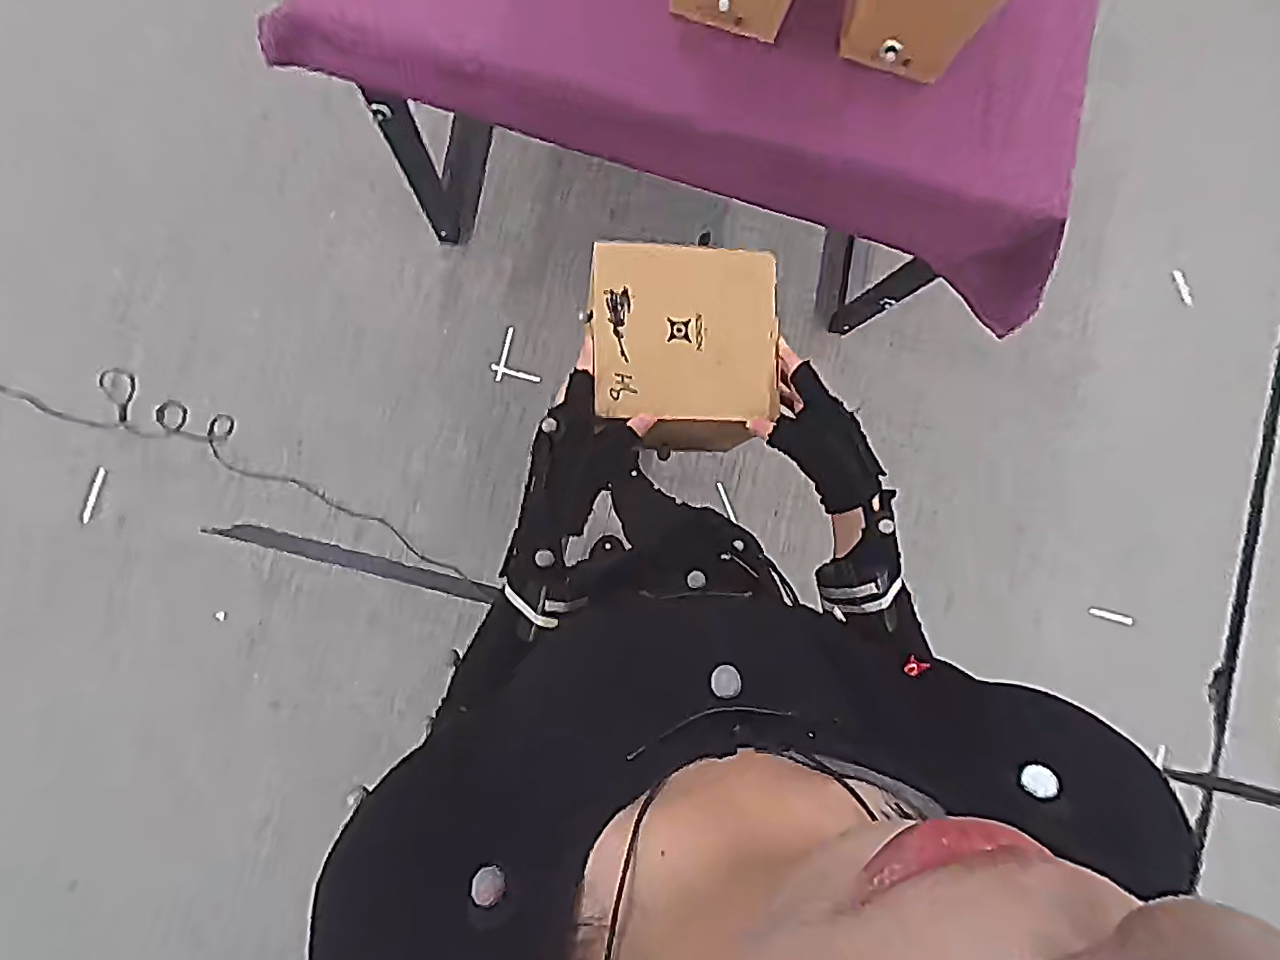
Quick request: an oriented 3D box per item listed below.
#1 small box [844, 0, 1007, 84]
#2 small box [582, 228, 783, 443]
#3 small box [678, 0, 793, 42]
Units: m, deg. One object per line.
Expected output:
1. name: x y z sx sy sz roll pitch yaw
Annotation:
1. small box: 0.417 -0.731 0.778 0.168 0.176 0.179 10 88 -5
2. small box: 0.033 -0.134 0.568 0.179 0.176 0.168 1 83 -9
3. small box: 0.156 -0.773 0.747 0.168 0.176 0.179 12 87 -6
